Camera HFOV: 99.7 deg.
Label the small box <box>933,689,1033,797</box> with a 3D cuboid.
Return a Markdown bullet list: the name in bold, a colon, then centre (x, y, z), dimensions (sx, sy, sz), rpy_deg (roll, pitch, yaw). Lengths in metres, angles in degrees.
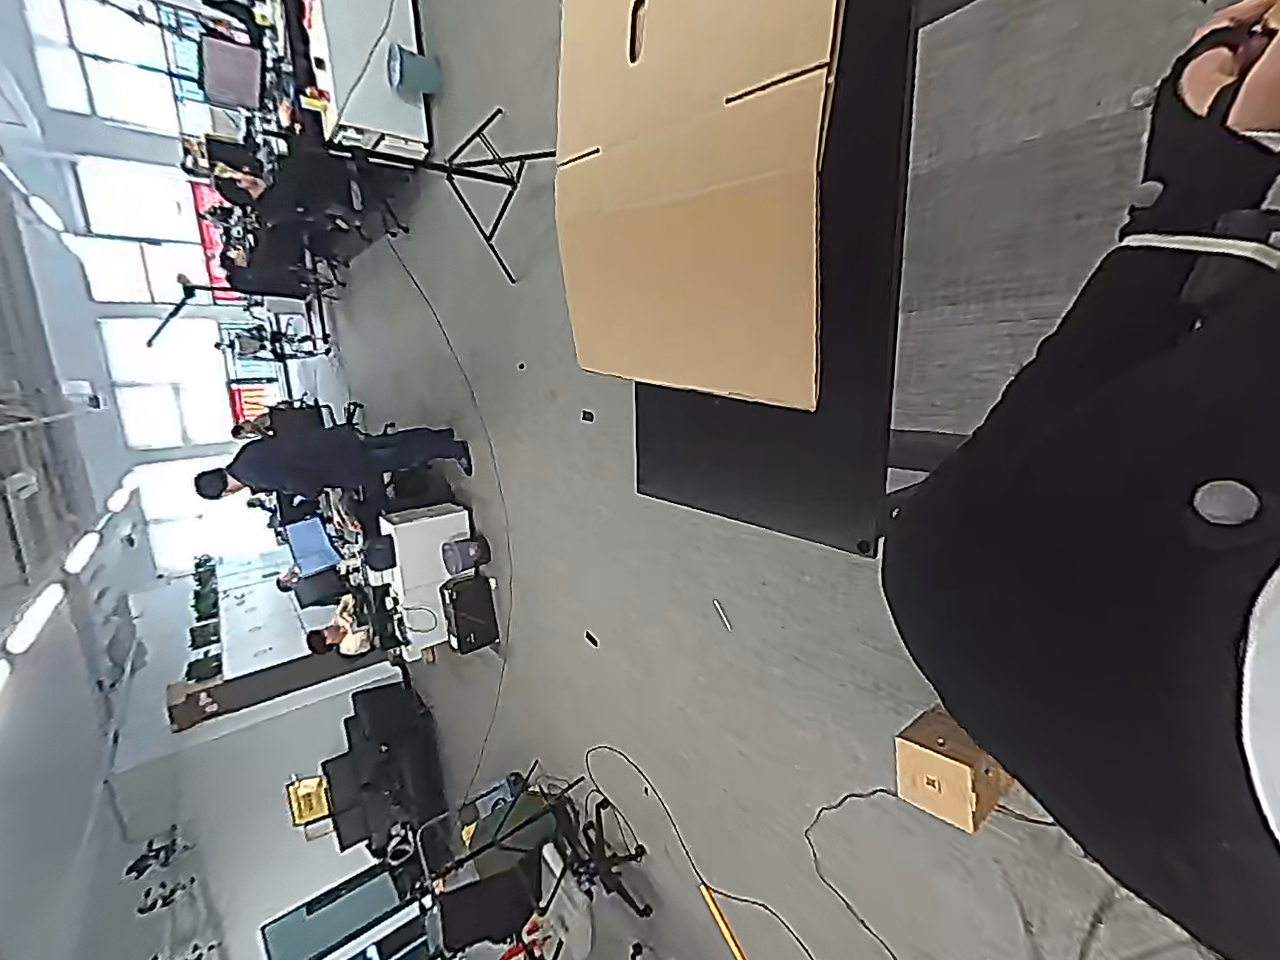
- **small box**: centre (0.889, 0.671, 1.409), dimensions (0.179, 0.176, 0.168), rpy_deg (8, 105, 51)

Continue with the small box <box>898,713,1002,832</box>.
- **small box**: centre (0.759, 0.698, 1.317), dimensions (0.179, 0.176, 0.168), rpy_deg (3, 100, 53)
